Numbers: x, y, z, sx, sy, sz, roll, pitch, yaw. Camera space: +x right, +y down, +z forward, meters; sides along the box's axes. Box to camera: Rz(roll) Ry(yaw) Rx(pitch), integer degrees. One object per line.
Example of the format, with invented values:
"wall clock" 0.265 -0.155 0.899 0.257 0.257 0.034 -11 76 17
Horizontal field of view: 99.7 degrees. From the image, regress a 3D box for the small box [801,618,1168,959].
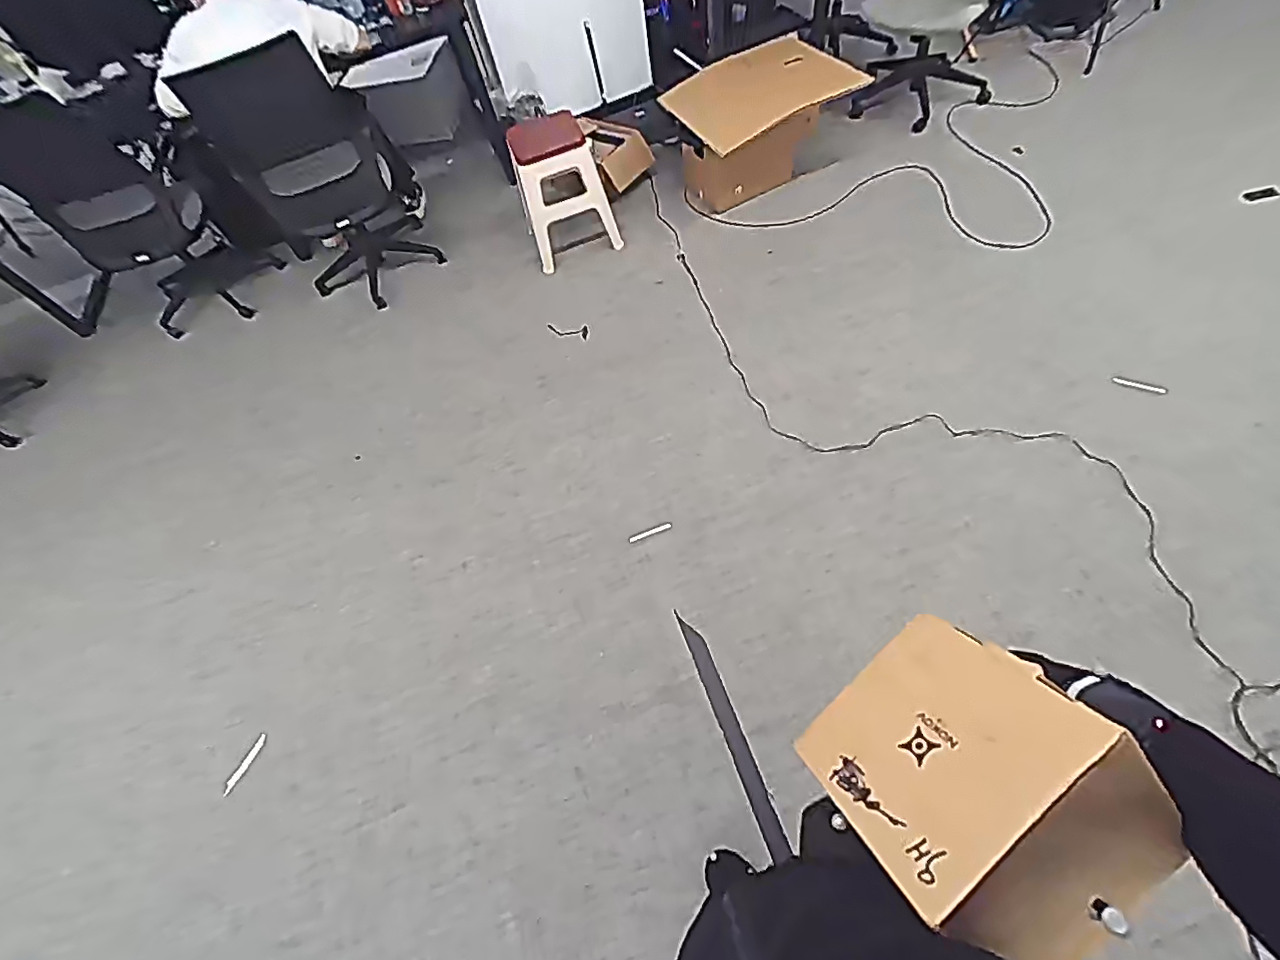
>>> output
"small box" 0.279 0.259 0.449 0.179 0.176 0.168 -44 20 -1
